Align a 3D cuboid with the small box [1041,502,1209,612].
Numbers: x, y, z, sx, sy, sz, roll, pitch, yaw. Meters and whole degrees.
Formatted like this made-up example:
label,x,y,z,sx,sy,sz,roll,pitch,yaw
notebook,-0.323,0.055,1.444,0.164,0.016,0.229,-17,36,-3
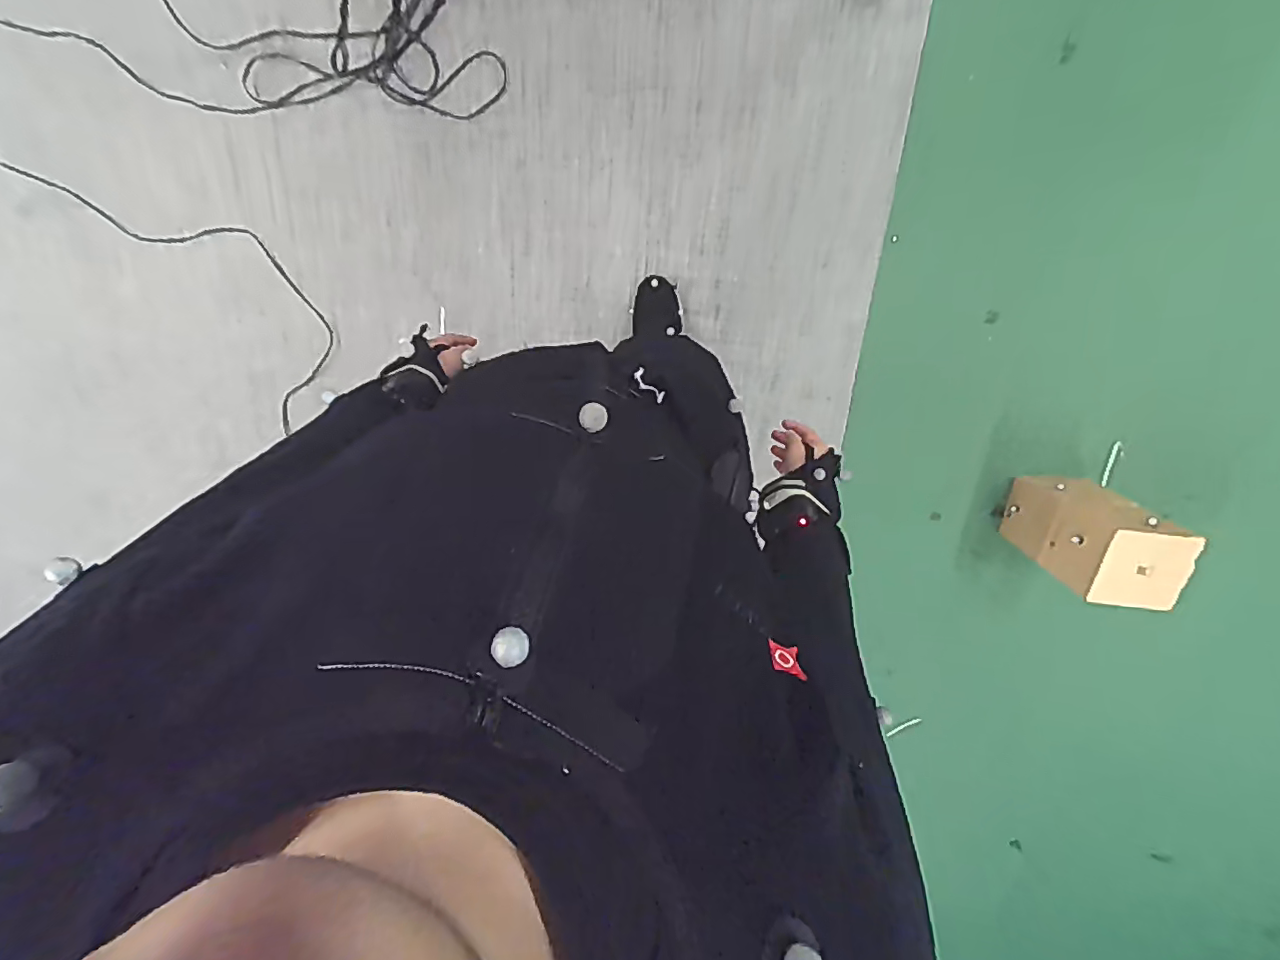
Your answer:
label,x,y,z,sx,sy,sz,roll,pitch,yaw
small box,1.003,0.154,1.140,0.179,0.176,0.168,6,110,1
